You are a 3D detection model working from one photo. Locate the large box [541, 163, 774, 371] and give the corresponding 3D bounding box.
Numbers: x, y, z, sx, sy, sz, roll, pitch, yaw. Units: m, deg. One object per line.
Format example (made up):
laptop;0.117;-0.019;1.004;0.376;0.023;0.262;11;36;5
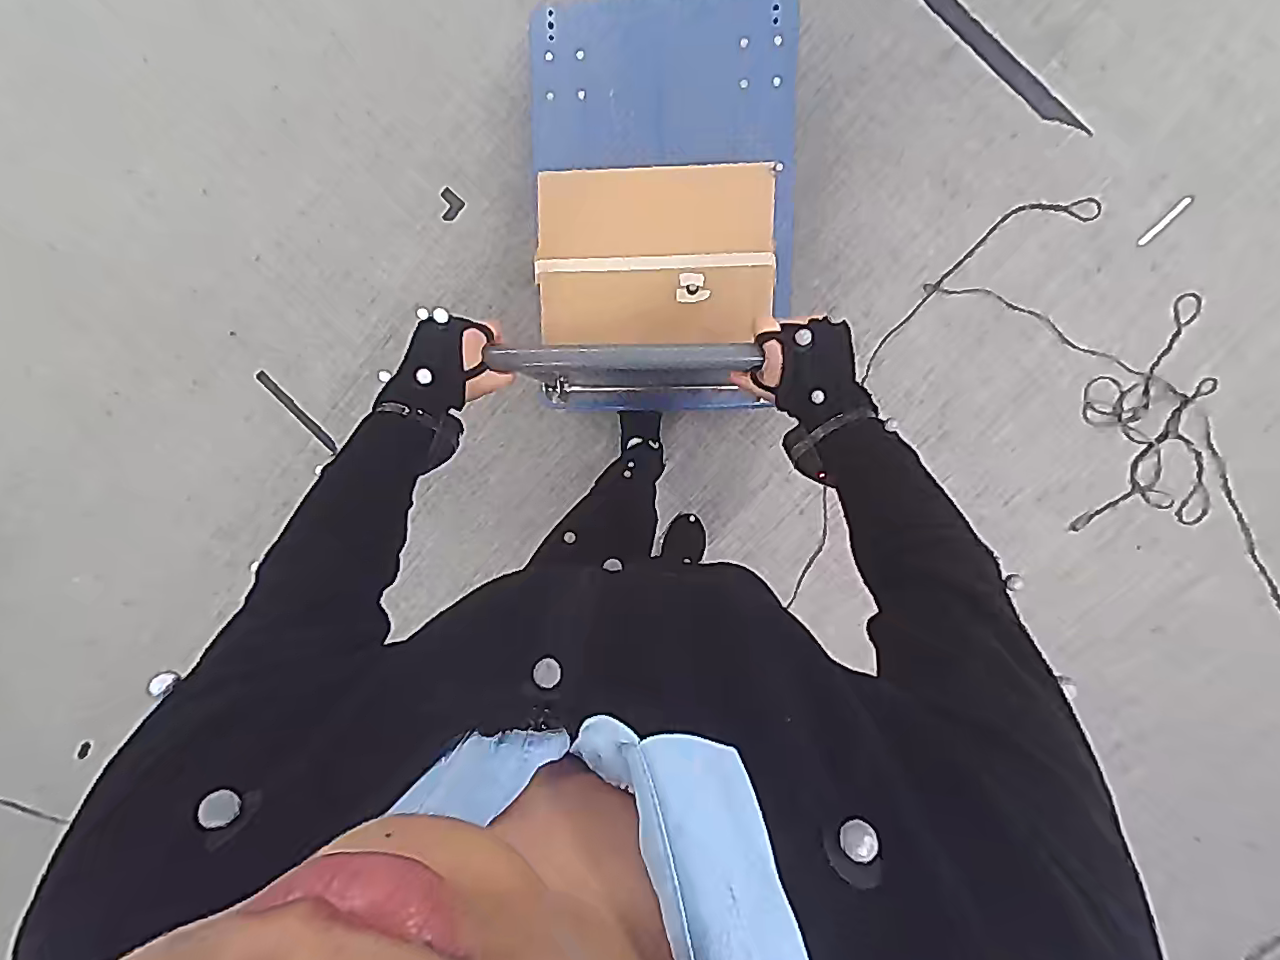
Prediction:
large box;0.038;-0.393;1.083;0.408;0.320;0.320;0;98;4
